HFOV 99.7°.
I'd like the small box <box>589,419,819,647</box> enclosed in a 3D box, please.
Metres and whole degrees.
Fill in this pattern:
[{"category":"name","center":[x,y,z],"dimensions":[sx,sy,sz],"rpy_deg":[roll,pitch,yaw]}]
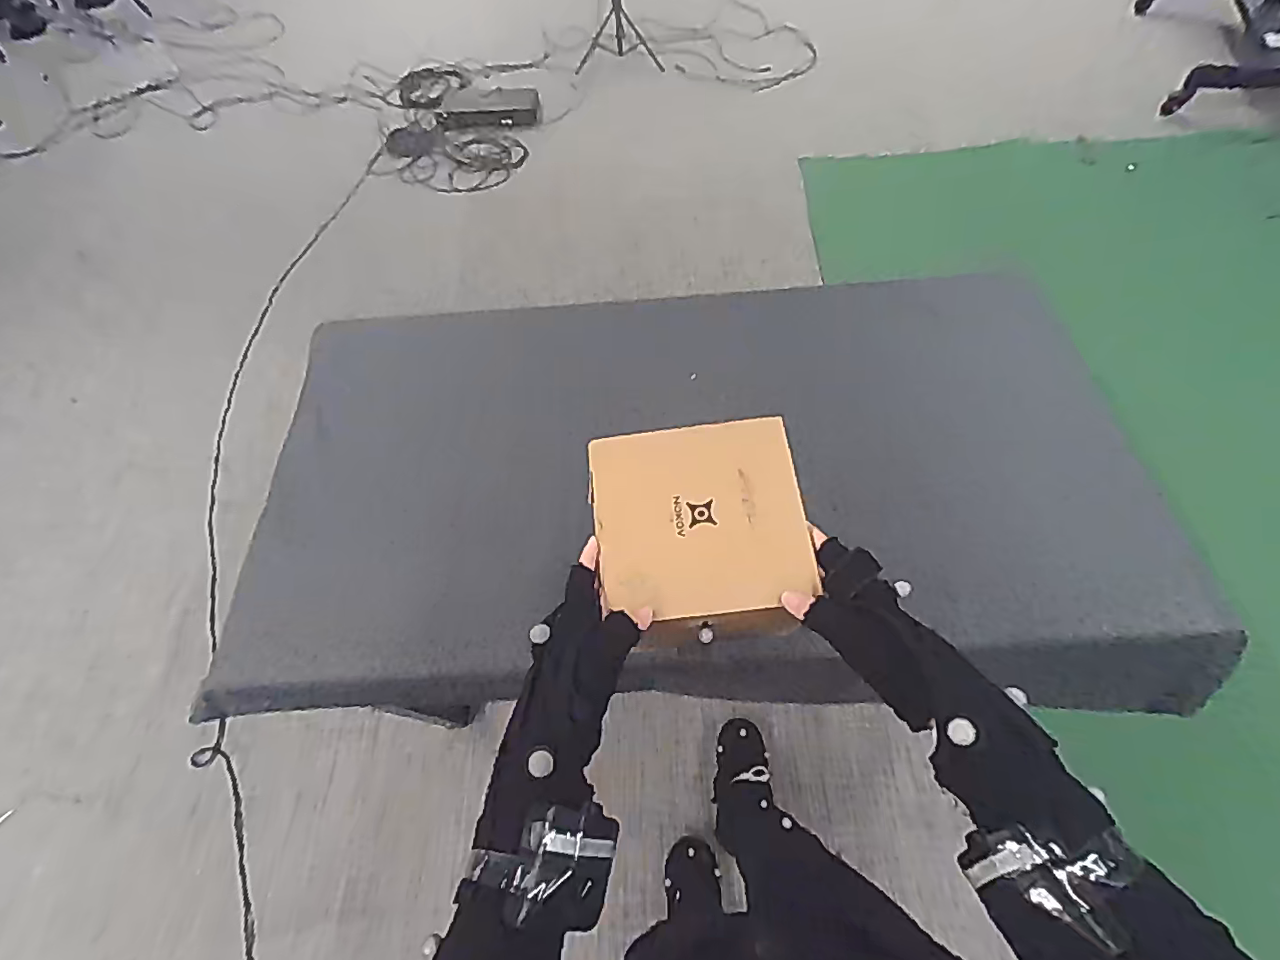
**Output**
[{"category":"small box","center":[0.053,0.062,0.528],"dimensions":[0.179,0.176,0.168],"rpy_deg":[-7,66,1]}]
